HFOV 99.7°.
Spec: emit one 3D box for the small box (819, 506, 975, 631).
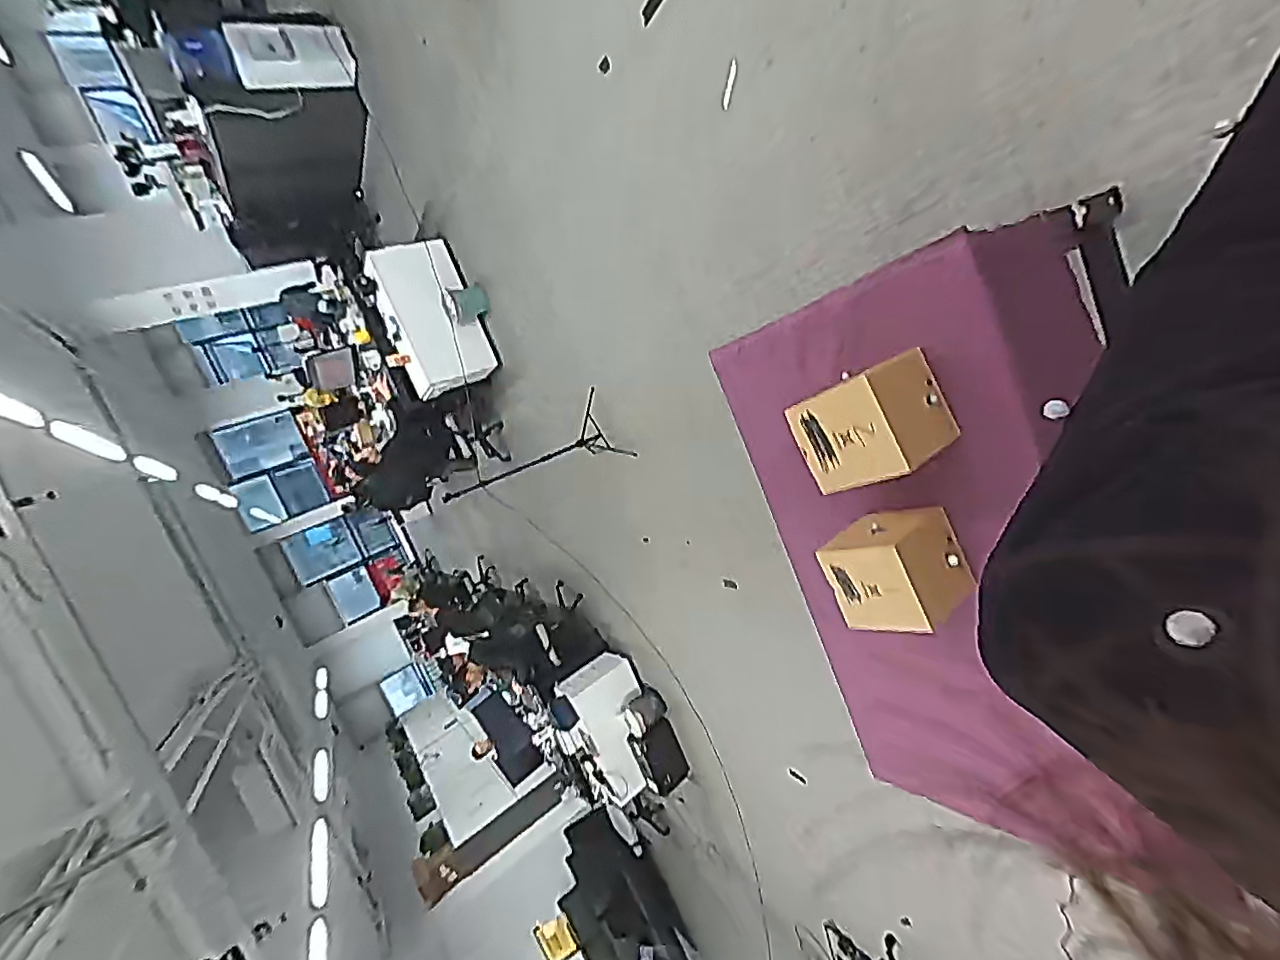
[{"bbox_3d":[0.482,0.164,1.017,0.179,0.176,0.168,-21,95,59],"label":"small box"}]
